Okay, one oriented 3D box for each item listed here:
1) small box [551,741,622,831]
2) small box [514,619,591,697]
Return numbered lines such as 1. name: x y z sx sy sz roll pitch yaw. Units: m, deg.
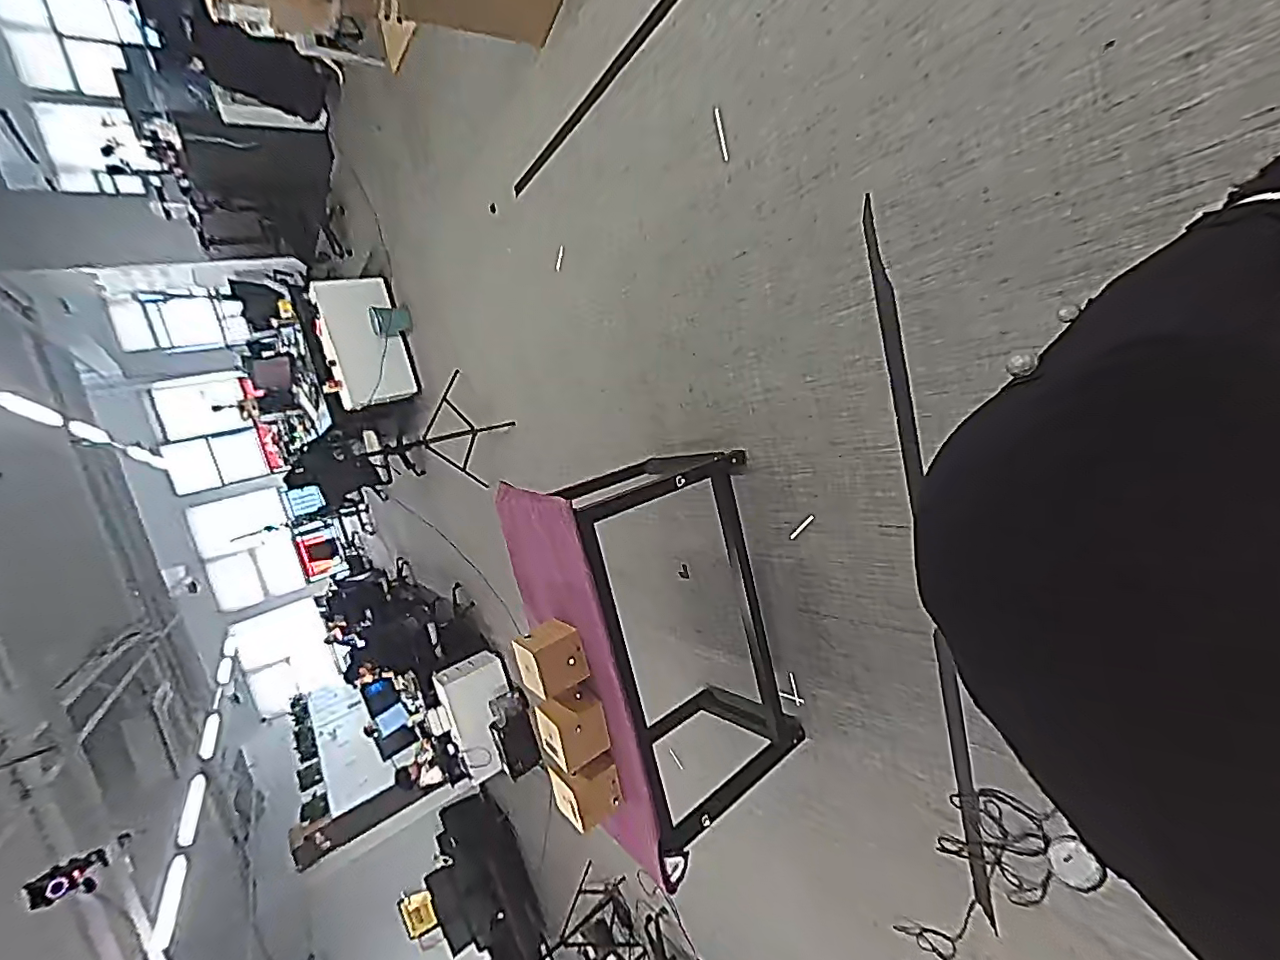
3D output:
1. small box: -0.176 1.030 1.839 0.179 0.176 0.168 7 111 53
2. small box: -0.284 0.570 1.765 0.179 0.176 0.168 0 106 55
